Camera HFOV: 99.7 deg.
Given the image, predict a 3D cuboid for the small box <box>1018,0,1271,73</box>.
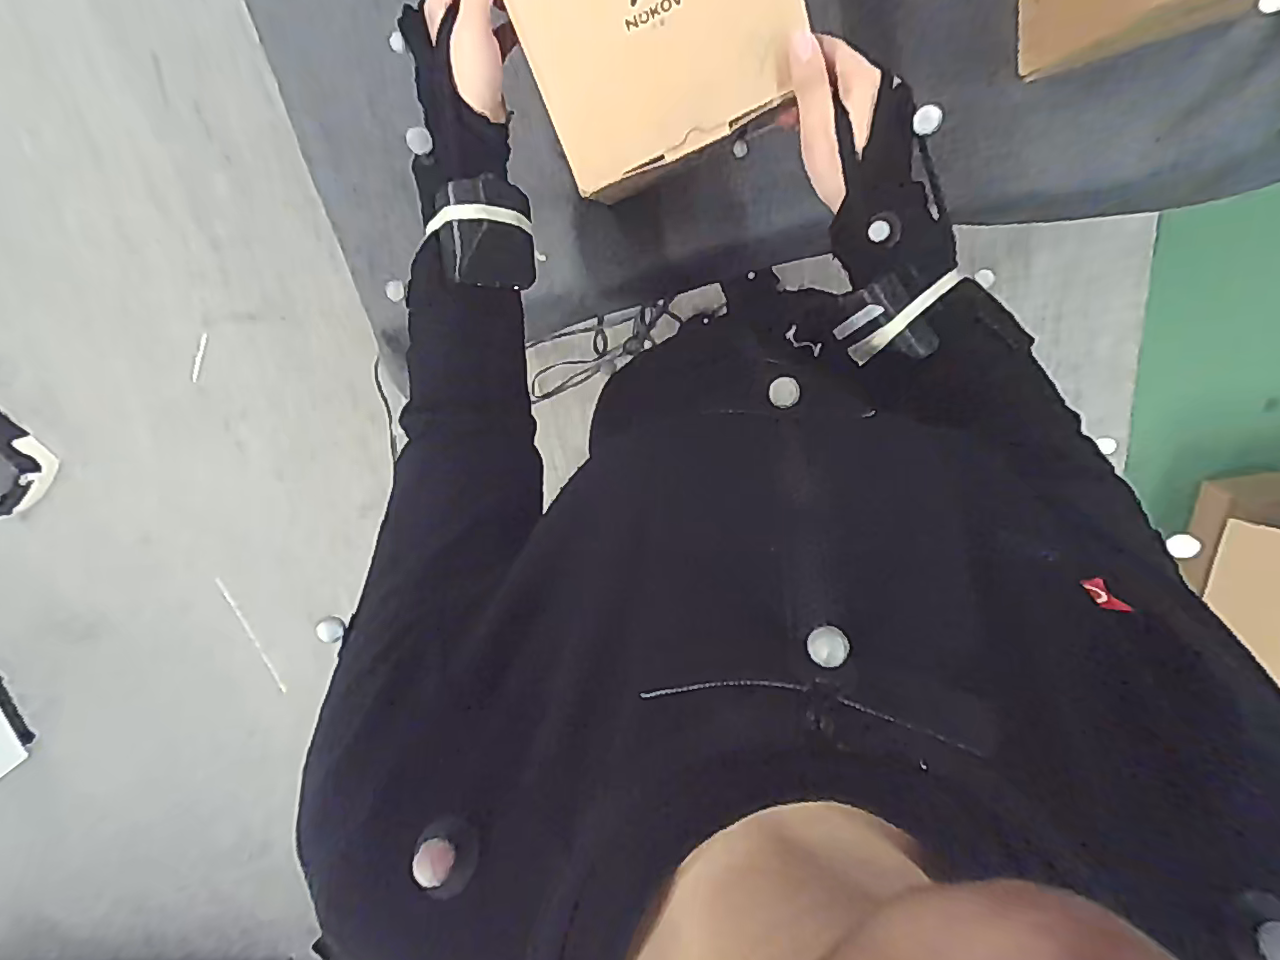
[{"bbox_3d":[0.373,-0.392,0.332,0.179,0.176,0.168,-12,111,11],"label":"small box"}]
